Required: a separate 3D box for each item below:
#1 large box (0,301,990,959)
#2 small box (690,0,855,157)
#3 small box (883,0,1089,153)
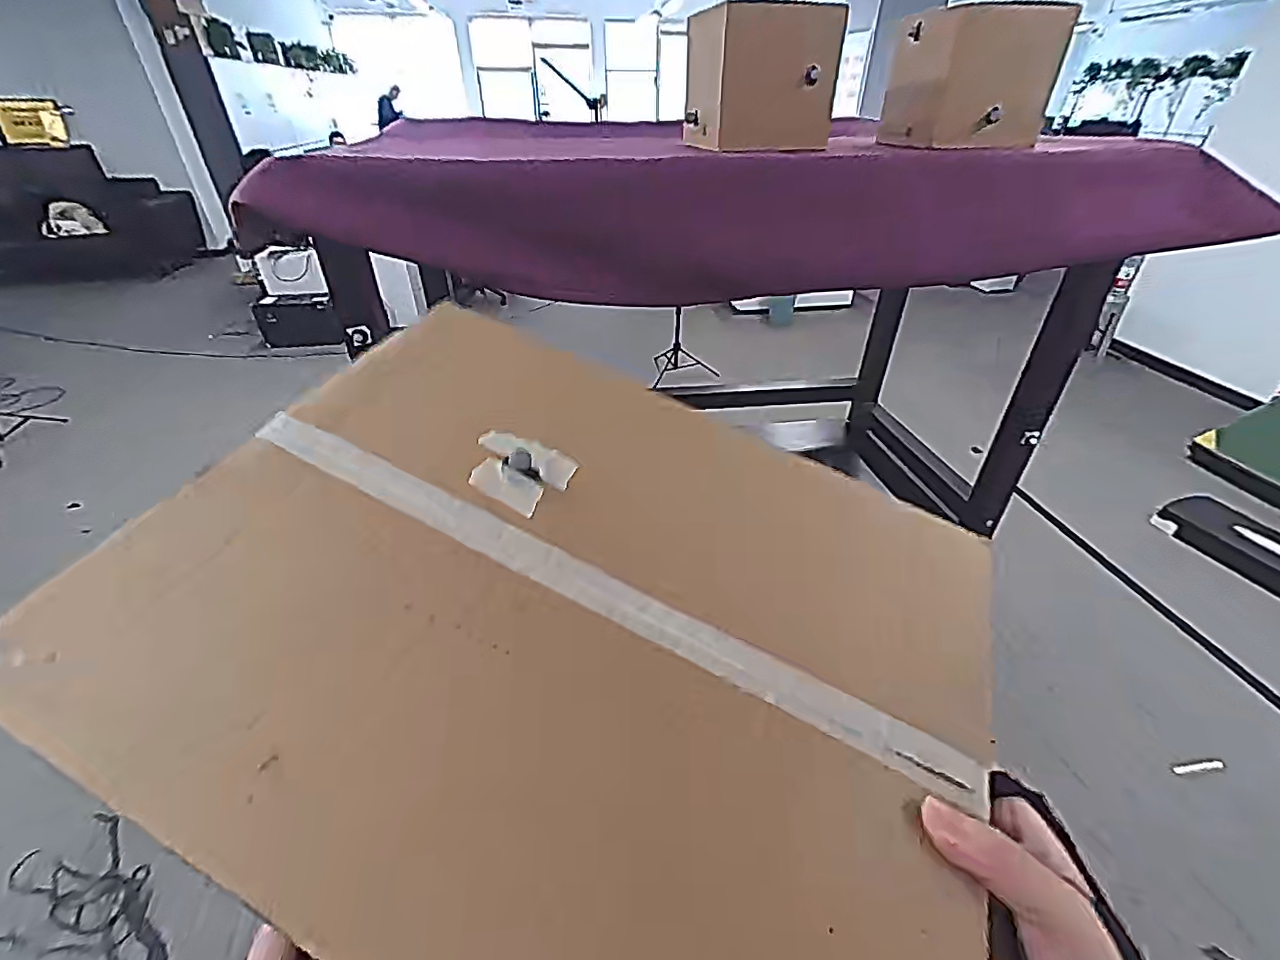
[{"bbox_3d":[-0.048,0.143,0.383,0.408,0.320,0.320,25,51,10],"label":"large box"},{"bbox_3d":[0.182,-0.586,0.801,0.179,0.176,0.168,-8,35,-11],"label":"small box"},{"bbox_3d":[0.505,-0.602,0.821,0.179,0.176,0.168,-4,34,-6],"label":"small box"}]
